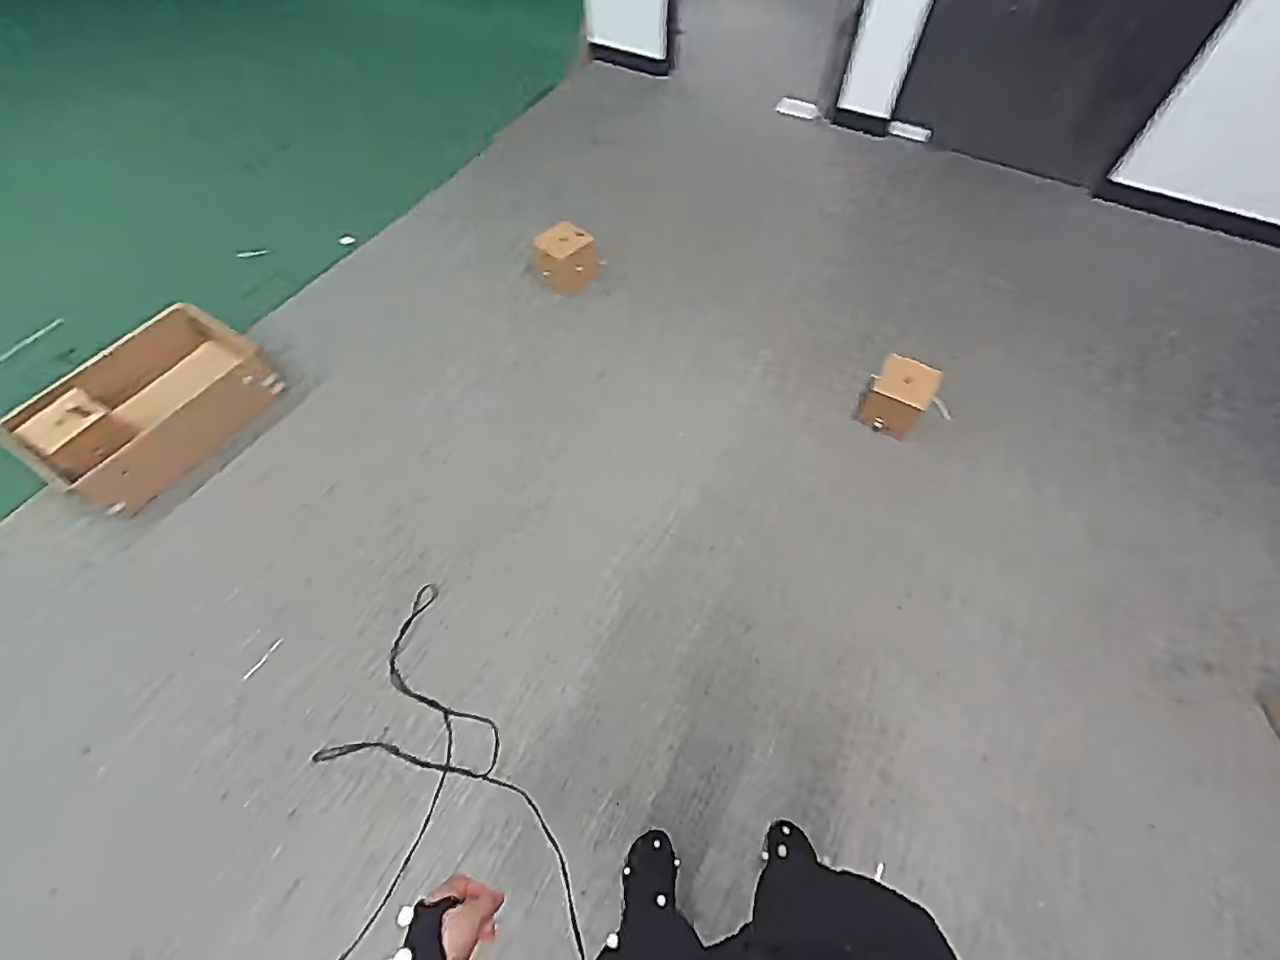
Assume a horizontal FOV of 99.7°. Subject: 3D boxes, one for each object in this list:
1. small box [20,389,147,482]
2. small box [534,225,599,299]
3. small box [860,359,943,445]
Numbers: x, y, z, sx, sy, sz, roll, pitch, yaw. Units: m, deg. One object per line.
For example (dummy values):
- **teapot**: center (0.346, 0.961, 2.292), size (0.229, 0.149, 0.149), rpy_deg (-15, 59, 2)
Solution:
- **small box**: center (-1.614, -0.127, 1.587), size (0.168, 0.176, 0.179), rpy_deg (29, 64, 15)
- **small box**: center (-0.271, -0.825, 2.056), size (0.168, 0.176, 0.179), rpy_deg (39, 68, 20)
- **small box**: center (0.825, -0.246, 1.723), size (0.168, 0.176, 0.179), rpy_deg (27, 65, 16)
